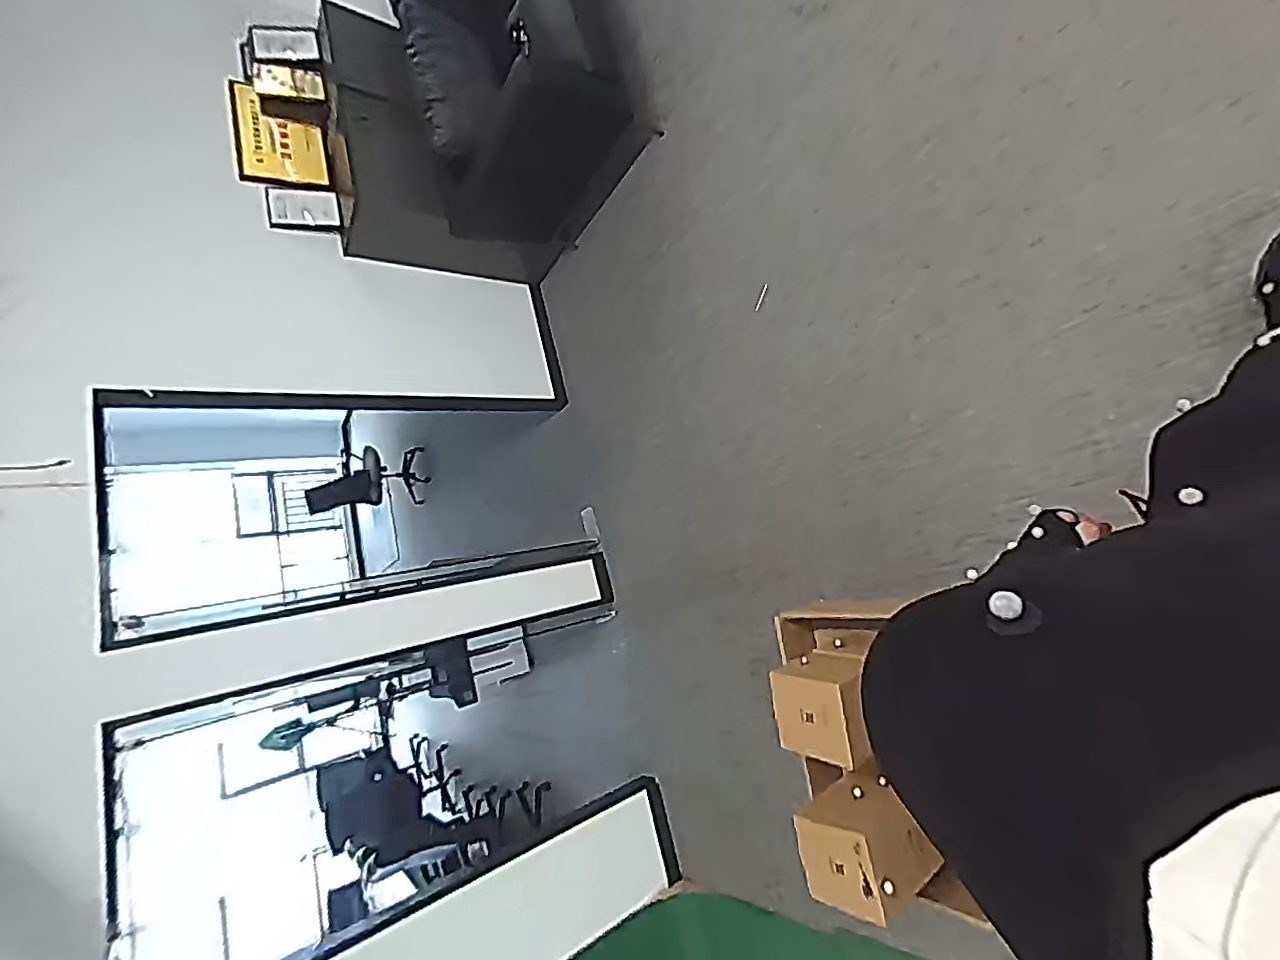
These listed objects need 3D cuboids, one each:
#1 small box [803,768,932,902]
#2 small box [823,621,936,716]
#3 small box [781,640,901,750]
[{"bbox_3d":[0.487,0.747,1.164,0.179,0.176,0.168,-22,78,53],"label":"small box"},{"bbox_3d":[0.569,0.441,1.287,0.179,0.176,0.168,-10,87,53],"label":"small box"},{"bbox_3d":[0.440,0.460,1.189,0.179,0.176,0.168,-11,86,53],"label":"small box"}]
